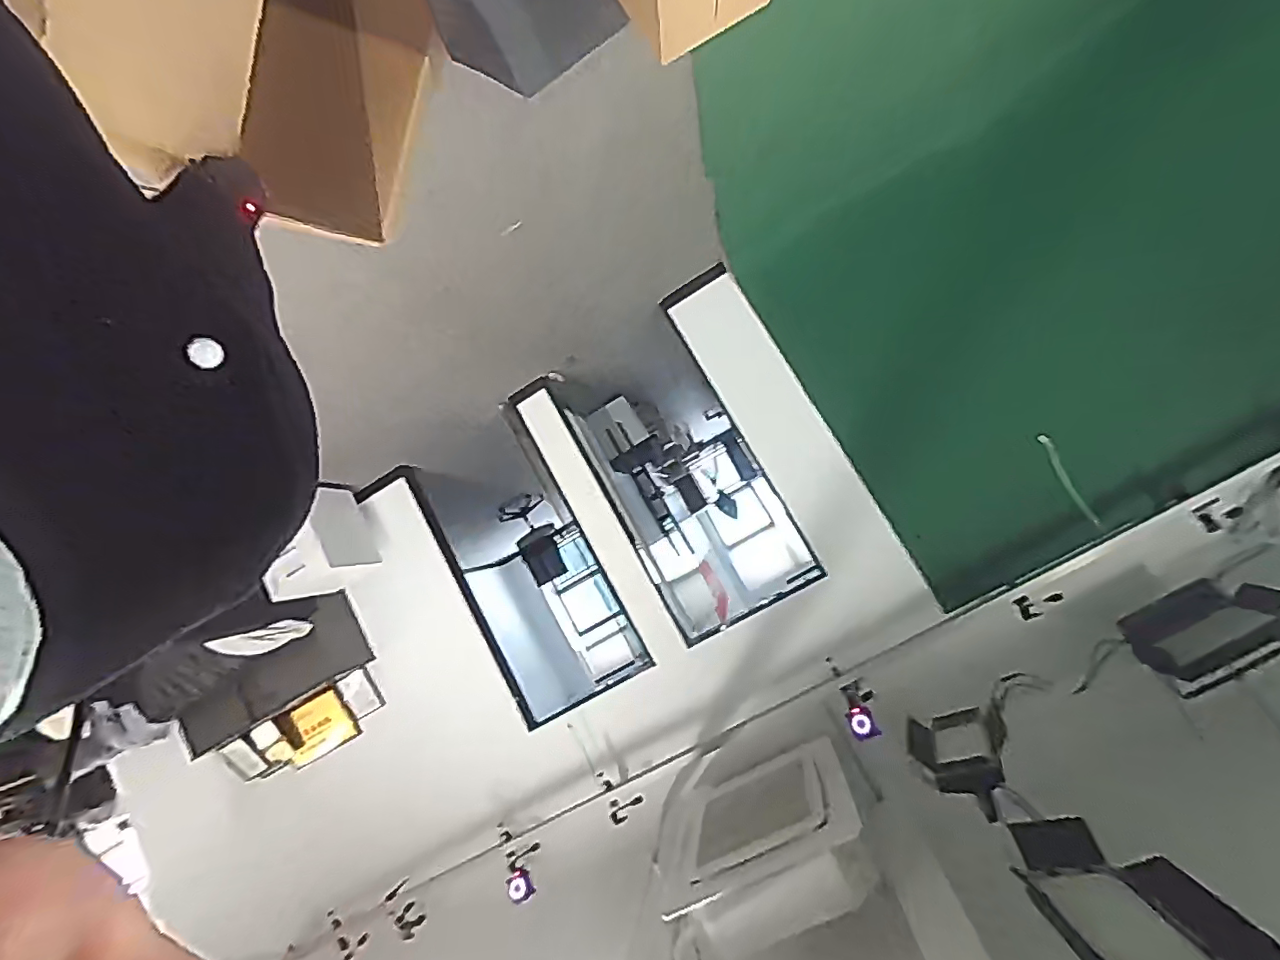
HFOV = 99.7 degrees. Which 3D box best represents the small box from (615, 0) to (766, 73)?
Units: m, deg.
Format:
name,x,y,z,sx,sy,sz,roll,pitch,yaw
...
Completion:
name,x,y,z,sx,sy,sz,roll,pitch,yaw
small box,0.045,-0.655,0.639,0.168,0.176,0.179,-30,172,2
